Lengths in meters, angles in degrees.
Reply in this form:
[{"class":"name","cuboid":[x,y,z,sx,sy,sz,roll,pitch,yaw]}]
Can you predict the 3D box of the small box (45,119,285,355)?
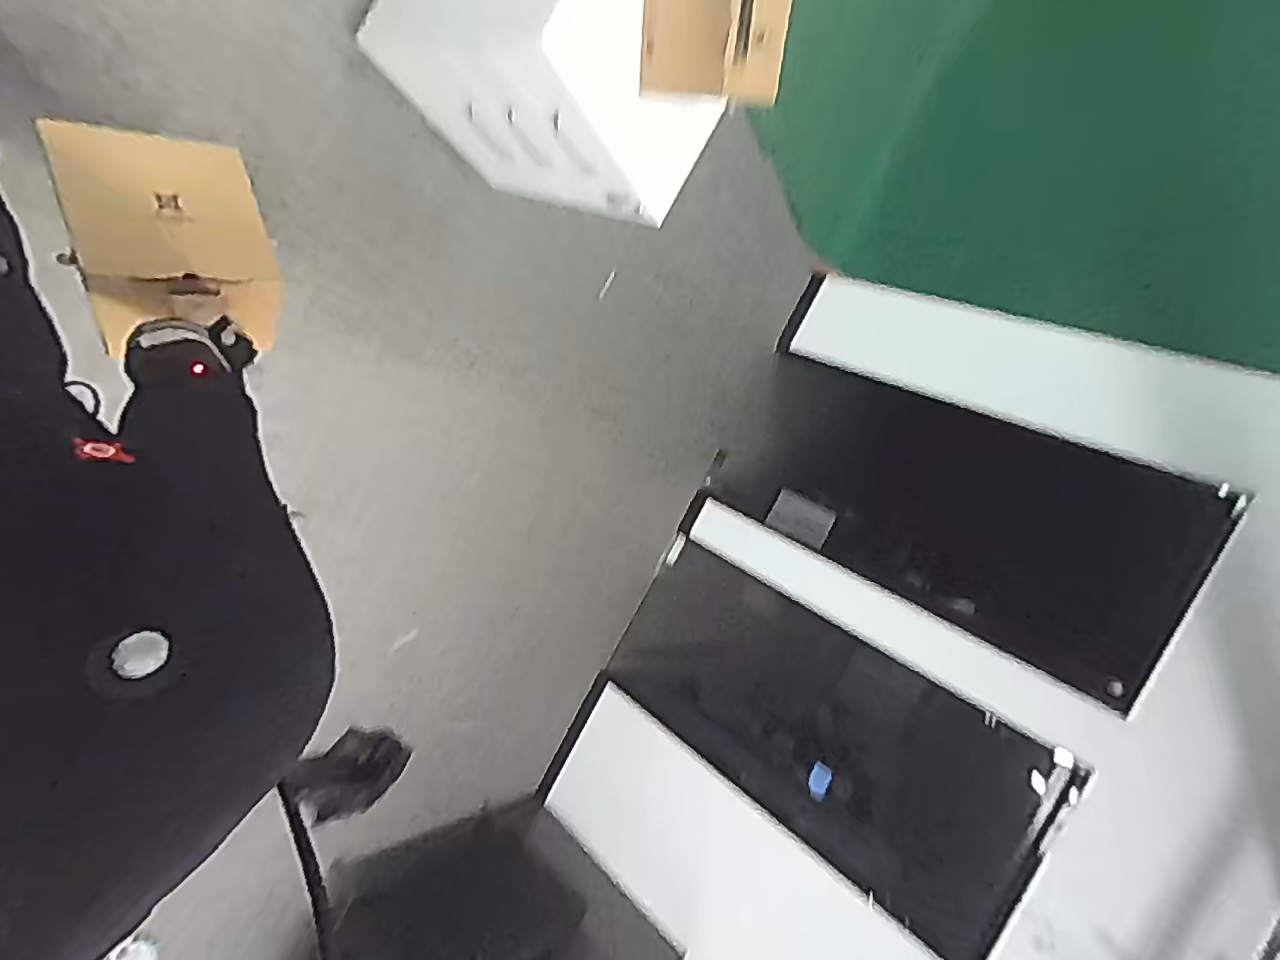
[{"class":"small box","cuboid":[-0.544,-0.266,0.632,0.168,0.176,0.179,-17,84,-42]}]
